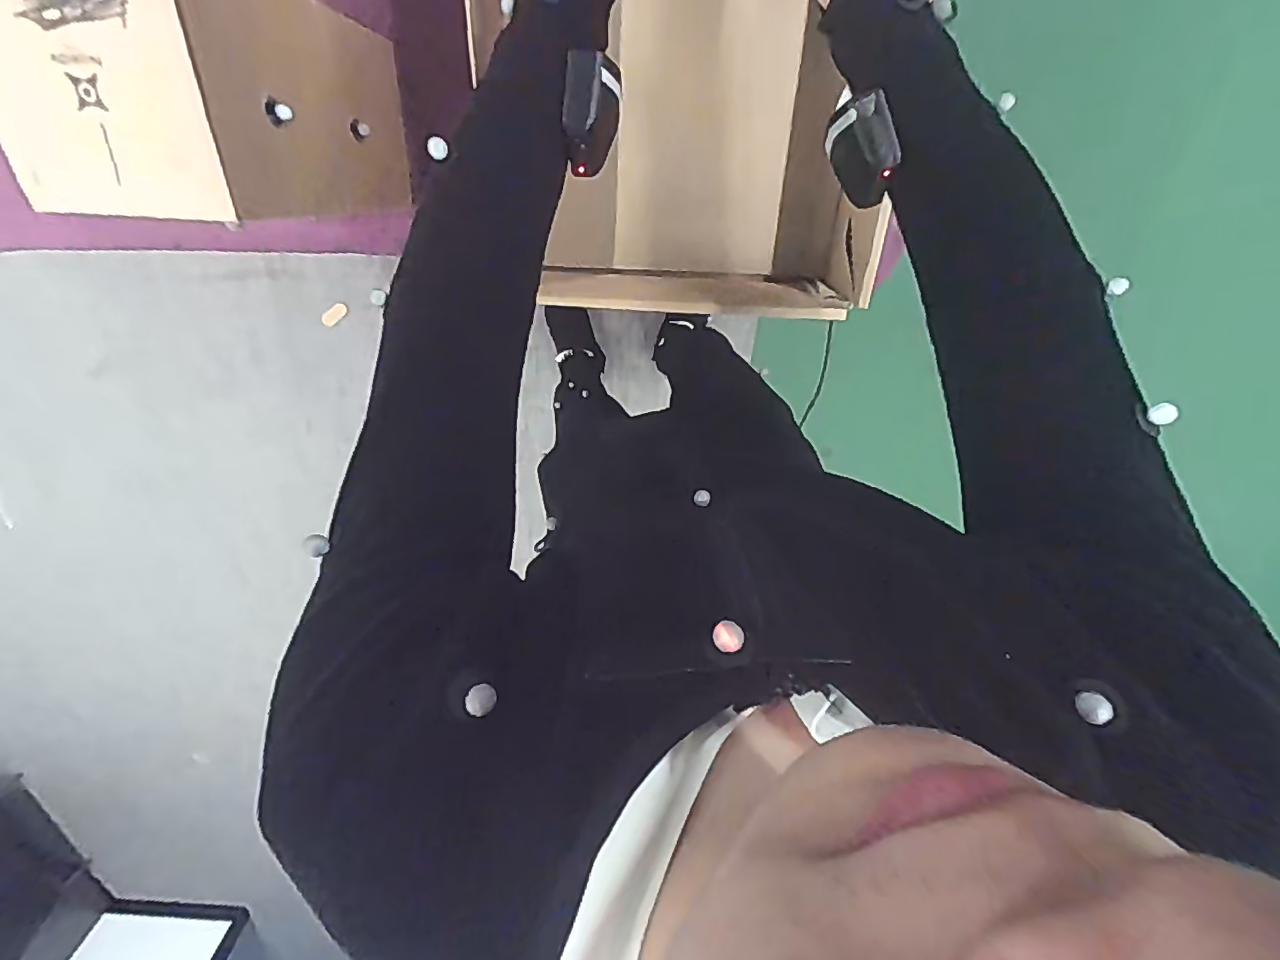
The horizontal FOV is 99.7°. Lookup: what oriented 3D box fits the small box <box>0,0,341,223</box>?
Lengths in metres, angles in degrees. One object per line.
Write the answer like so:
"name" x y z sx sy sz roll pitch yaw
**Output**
"small box" -0.382 -0.318 0.447 0.168 0.176 0.179 4 119 1
